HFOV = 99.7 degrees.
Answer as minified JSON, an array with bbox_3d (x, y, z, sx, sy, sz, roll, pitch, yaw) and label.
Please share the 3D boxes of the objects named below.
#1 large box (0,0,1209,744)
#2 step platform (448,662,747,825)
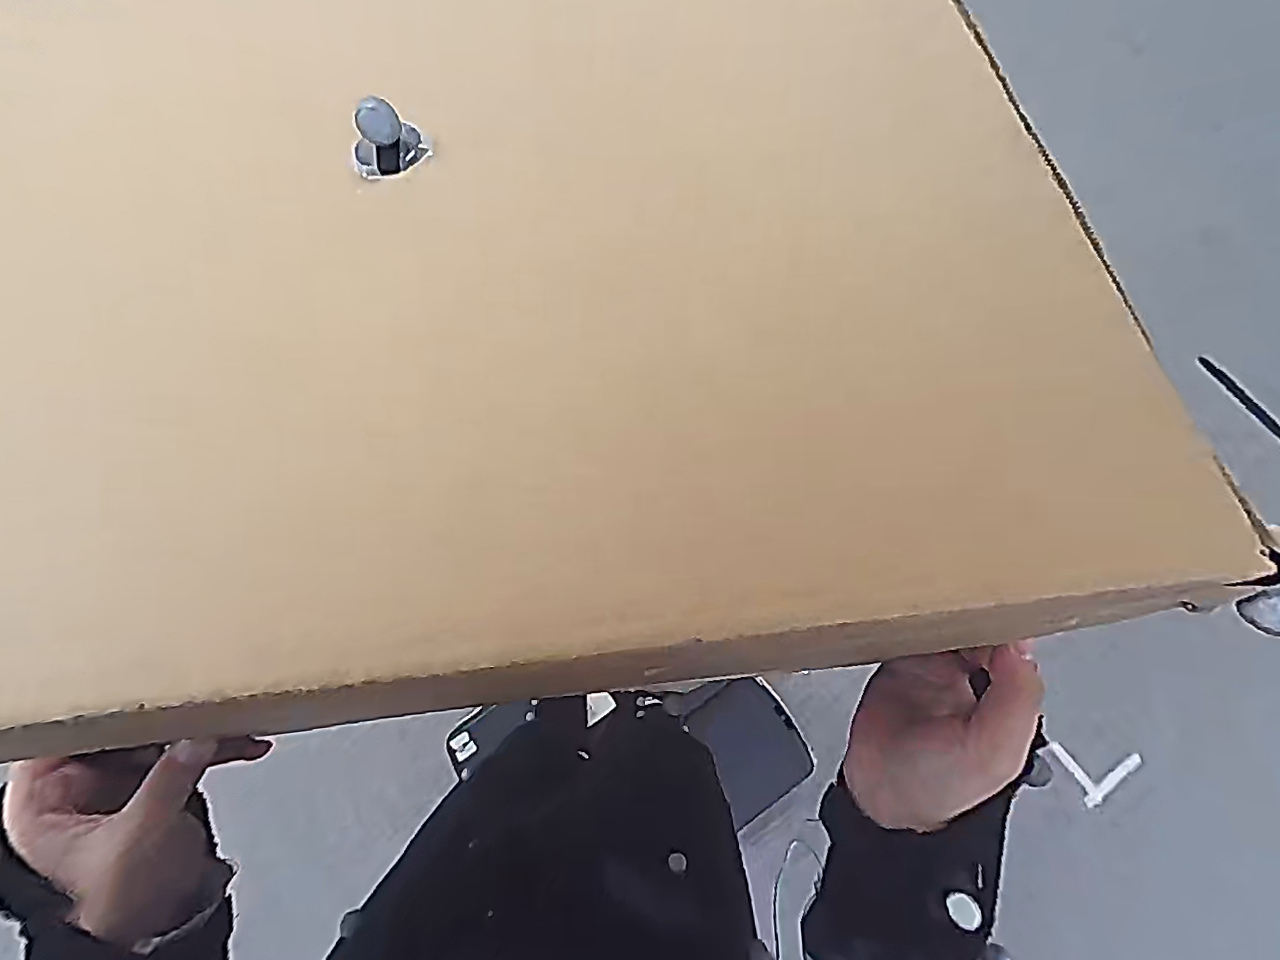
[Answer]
[{"bbox_3d":[-0.080,-0.047,0.315,0.408,0.320,0.320,-8,70,2],"label":"large box"},{"bbox_3d":[-0.092,0.484,1.271,0.684,0.204,0.286,-31,81,-4],"label":"step platform"}]
